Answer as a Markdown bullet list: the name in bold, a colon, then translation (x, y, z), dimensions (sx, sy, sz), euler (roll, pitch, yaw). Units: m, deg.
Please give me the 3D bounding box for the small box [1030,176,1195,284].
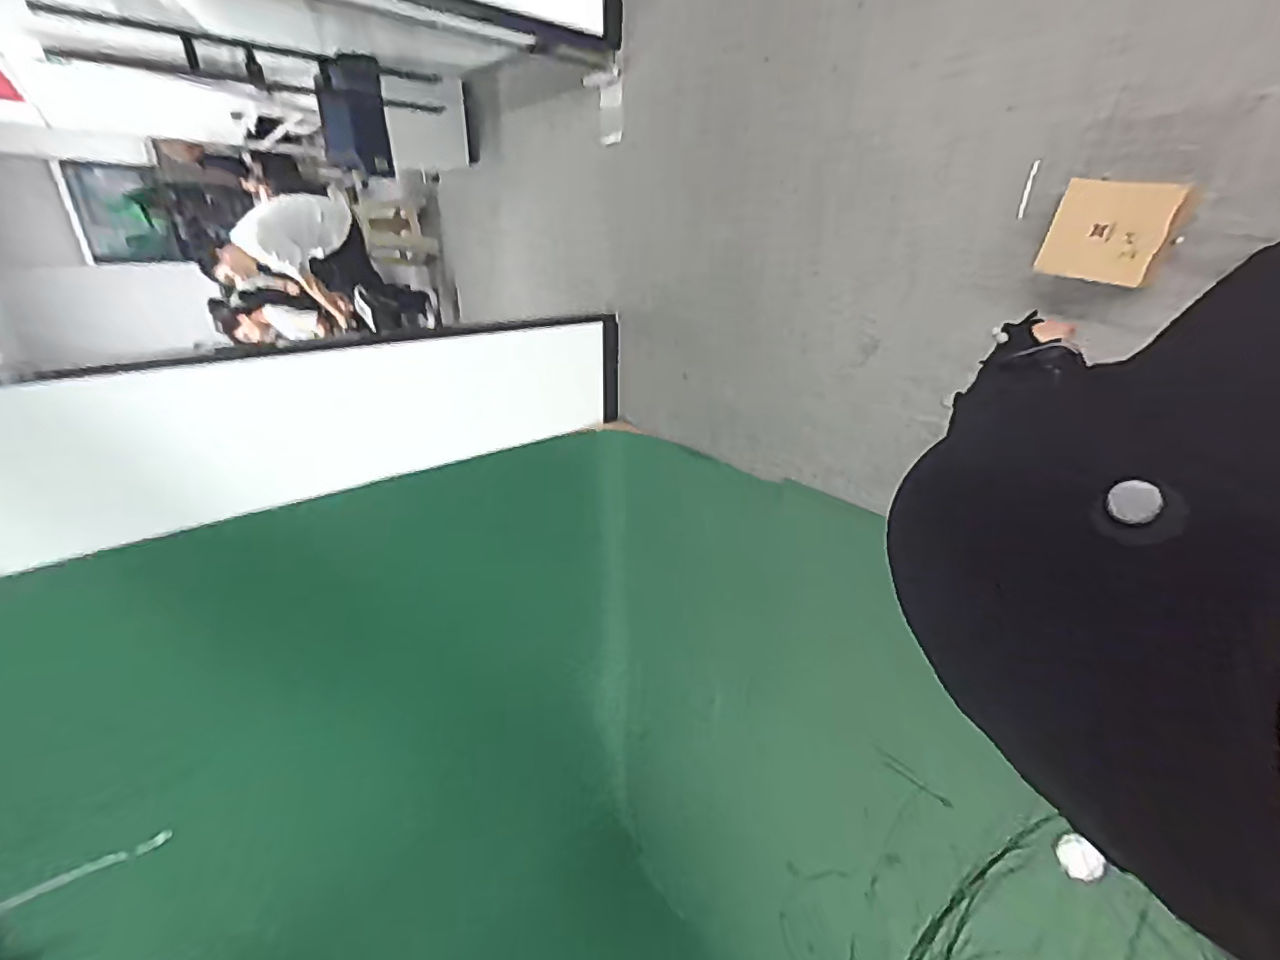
- **small box**: translation (0.910, -0.482, 1.045), dimensions (0.179, 0.176, 0.168), euler (33, 130, 39)
